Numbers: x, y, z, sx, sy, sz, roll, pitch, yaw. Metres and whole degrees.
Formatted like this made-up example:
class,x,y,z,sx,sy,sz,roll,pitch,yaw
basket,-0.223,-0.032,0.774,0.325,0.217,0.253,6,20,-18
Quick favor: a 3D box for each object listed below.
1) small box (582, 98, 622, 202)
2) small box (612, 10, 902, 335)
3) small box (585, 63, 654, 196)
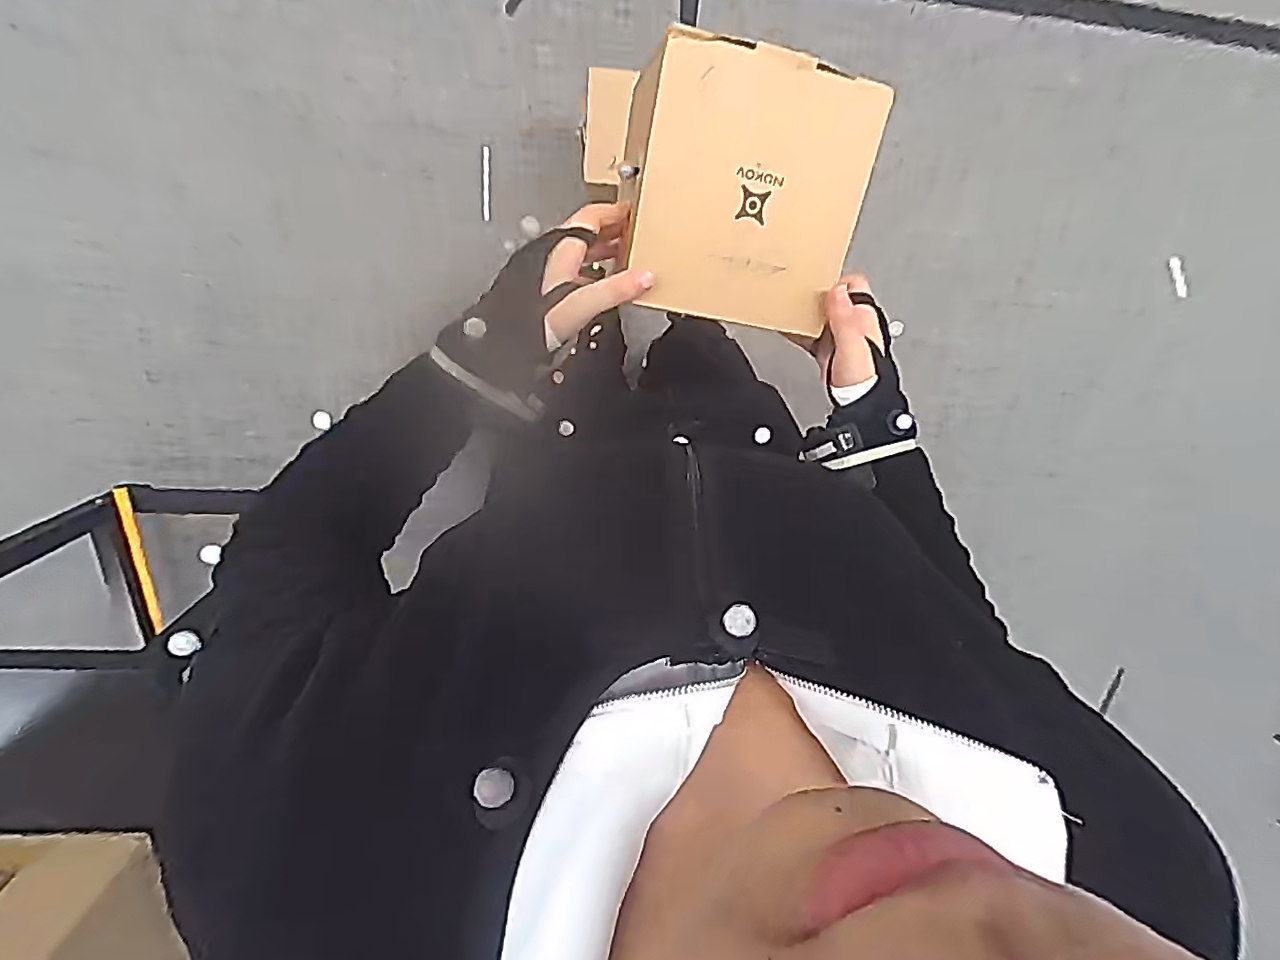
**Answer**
class,x,y,z,sx,sy,sz,roll,pitch,yaw
small box,-0.034,-0.696,1.160,0.179,0.176,0.168,-1,112,-5
small box,0.074,-0.236,0.456,0.168,0.176,0.179,7,113,-12
small box,-0.015,-0.635,1.008,0.168,0.176,0.179,3,112,-6
